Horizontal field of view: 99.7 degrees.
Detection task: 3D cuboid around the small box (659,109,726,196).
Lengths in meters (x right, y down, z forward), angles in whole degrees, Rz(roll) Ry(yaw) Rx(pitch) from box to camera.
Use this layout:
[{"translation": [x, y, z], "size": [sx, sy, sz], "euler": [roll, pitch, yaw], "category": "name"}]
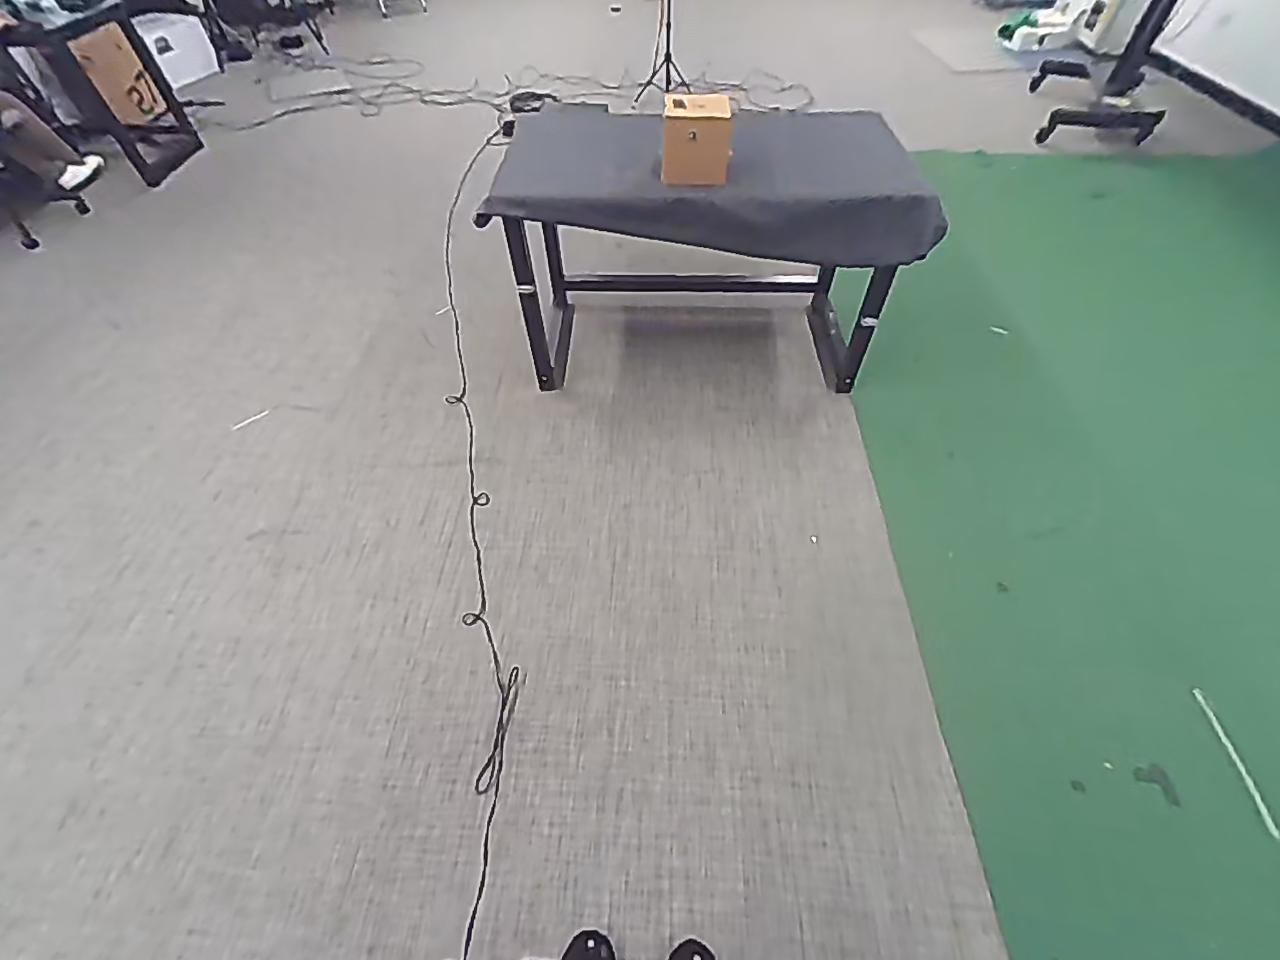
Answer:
[{"translation": [0.143, -0.918, 1.518], "size": [0.179, 0.176, 0.168], "euler": [2, 52, 2], "category": "small box"}]
